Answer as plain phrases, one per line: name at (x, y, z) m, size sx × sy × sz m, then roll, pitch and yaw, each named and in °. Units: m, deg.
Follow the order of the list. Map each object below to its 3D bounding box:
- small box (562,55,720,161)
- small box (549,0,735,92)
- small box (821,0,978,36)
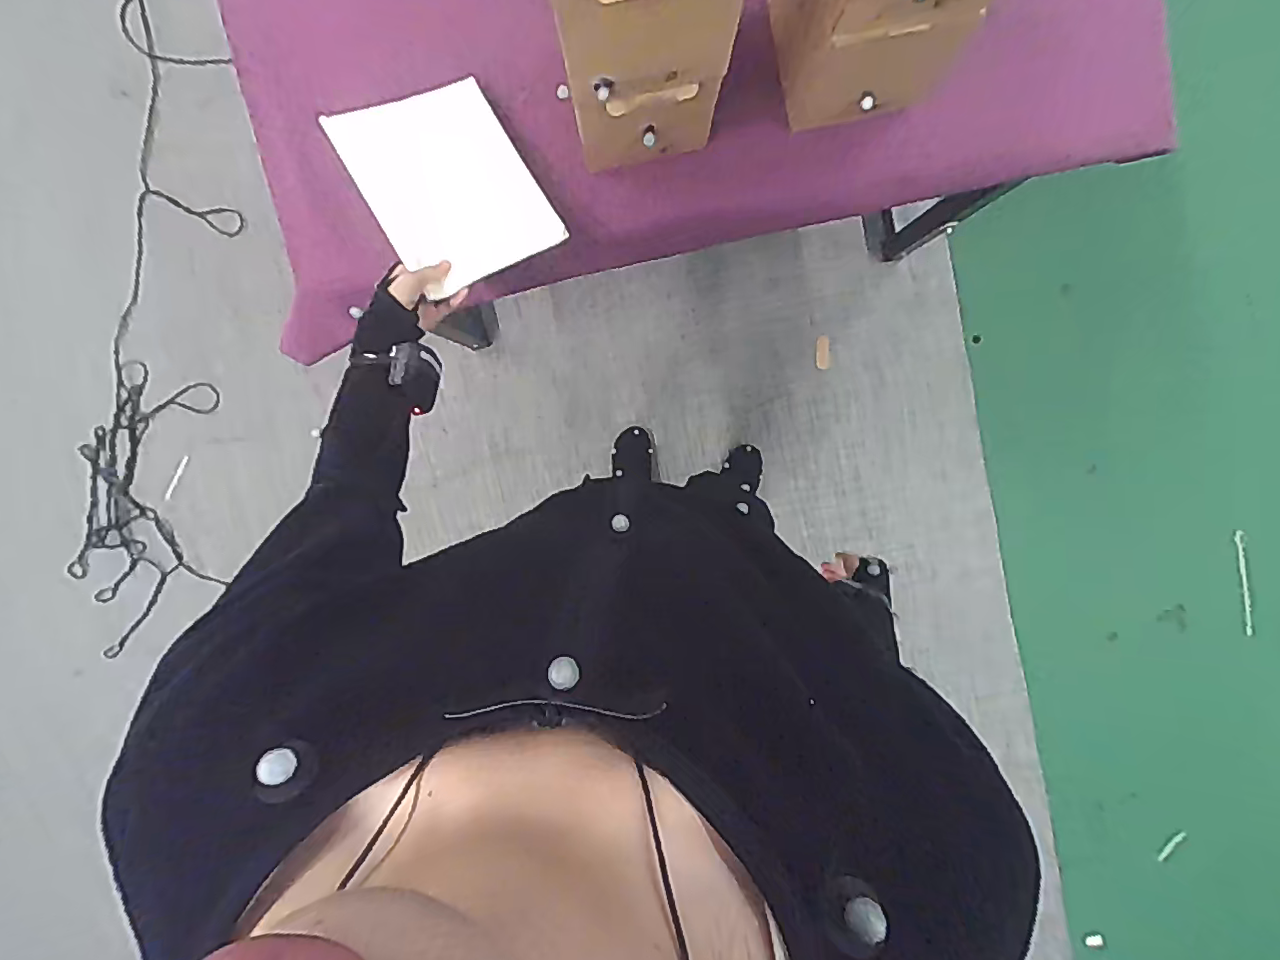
small box at (-0.008, -0.512, 0.647) m, size 0.168 × 0.176 × 0.179 m, roll -12°, pitch 96°, yaw 1°
small box at (-0.008, -0.488, 0.484) m, size 0.168 × 0.176 × 0.179 m, roll -12°, pitch 95°, yaw 1°
small box at (0.257, -0.554, 0.477) m, size 0.168 × 0.176 × 0.179 m, roll -11°, pitch 95°, yaw 1°
